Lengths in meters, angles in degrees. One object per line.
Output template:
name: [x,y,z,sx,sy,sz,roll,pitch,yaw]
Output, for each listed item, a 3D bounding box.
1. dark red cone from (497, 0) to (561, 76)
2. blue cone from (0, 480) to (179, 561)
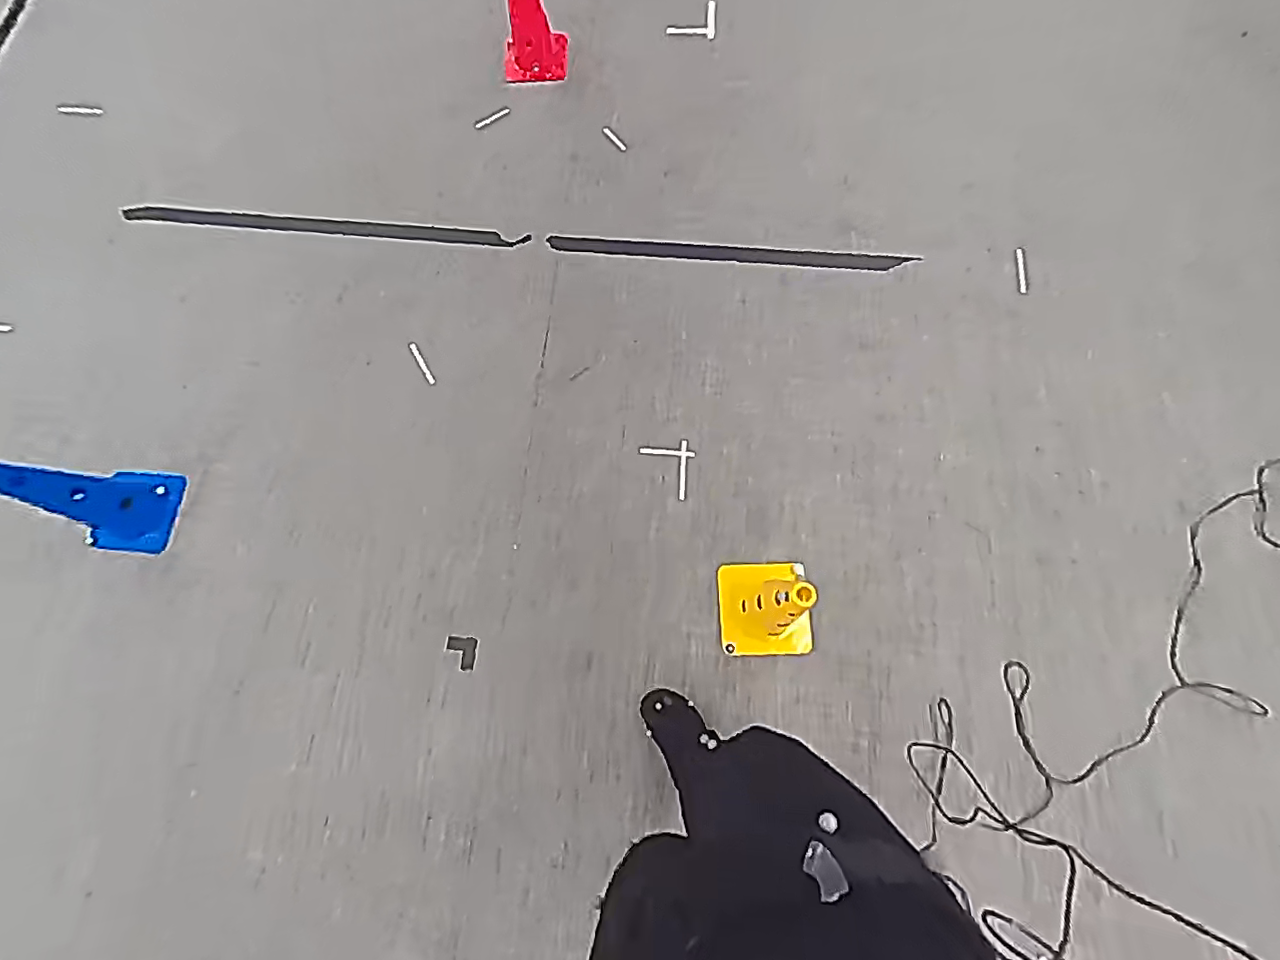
dark red cone: [-0.359,-1.408,1.565,0.202,0.394,0.201,-3,74,2]
blue cone: [-1.256,0.057,1.181,0.193,0.380,0.192,5,74,4]
